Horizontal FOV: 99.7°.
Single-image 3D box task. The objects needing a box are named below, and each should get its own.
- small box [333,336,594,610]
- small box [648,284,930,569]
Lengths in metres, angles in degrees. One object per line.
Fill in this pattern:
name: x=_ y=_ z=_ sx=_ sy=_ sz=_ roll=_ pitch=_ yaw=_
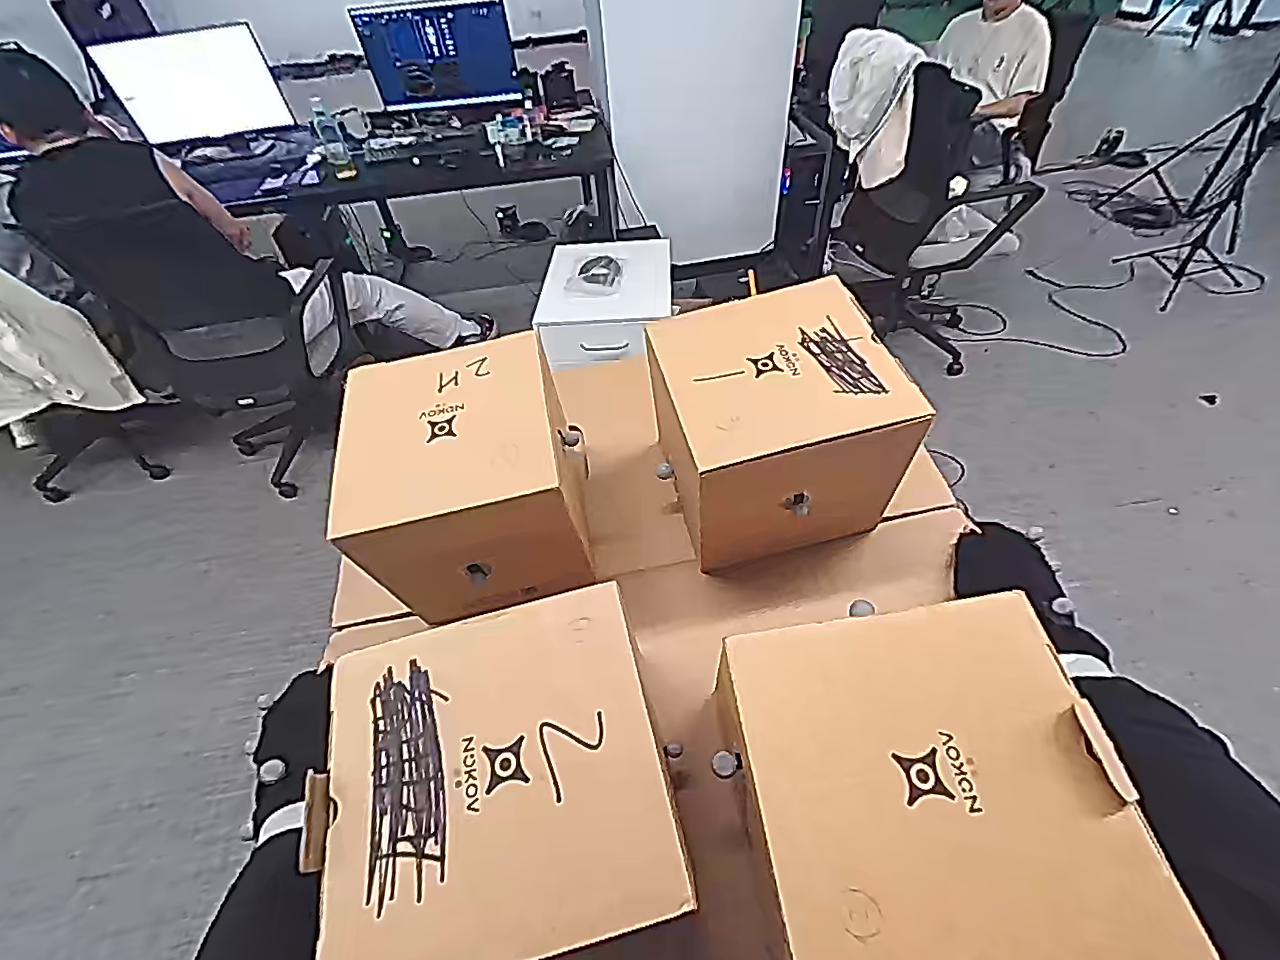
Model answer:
small box: x=-0.142 y=0.004 z=0.492 sx=0.168 sy=0.176 sz=0.179 roll=-12 pitch=55 yaw=-2
small box: x=0.115 y=-0.041 z=0.488 sx=0.179 sy=0.176 sz=0.168 roll=-14 pitch=55 yaw=-1
